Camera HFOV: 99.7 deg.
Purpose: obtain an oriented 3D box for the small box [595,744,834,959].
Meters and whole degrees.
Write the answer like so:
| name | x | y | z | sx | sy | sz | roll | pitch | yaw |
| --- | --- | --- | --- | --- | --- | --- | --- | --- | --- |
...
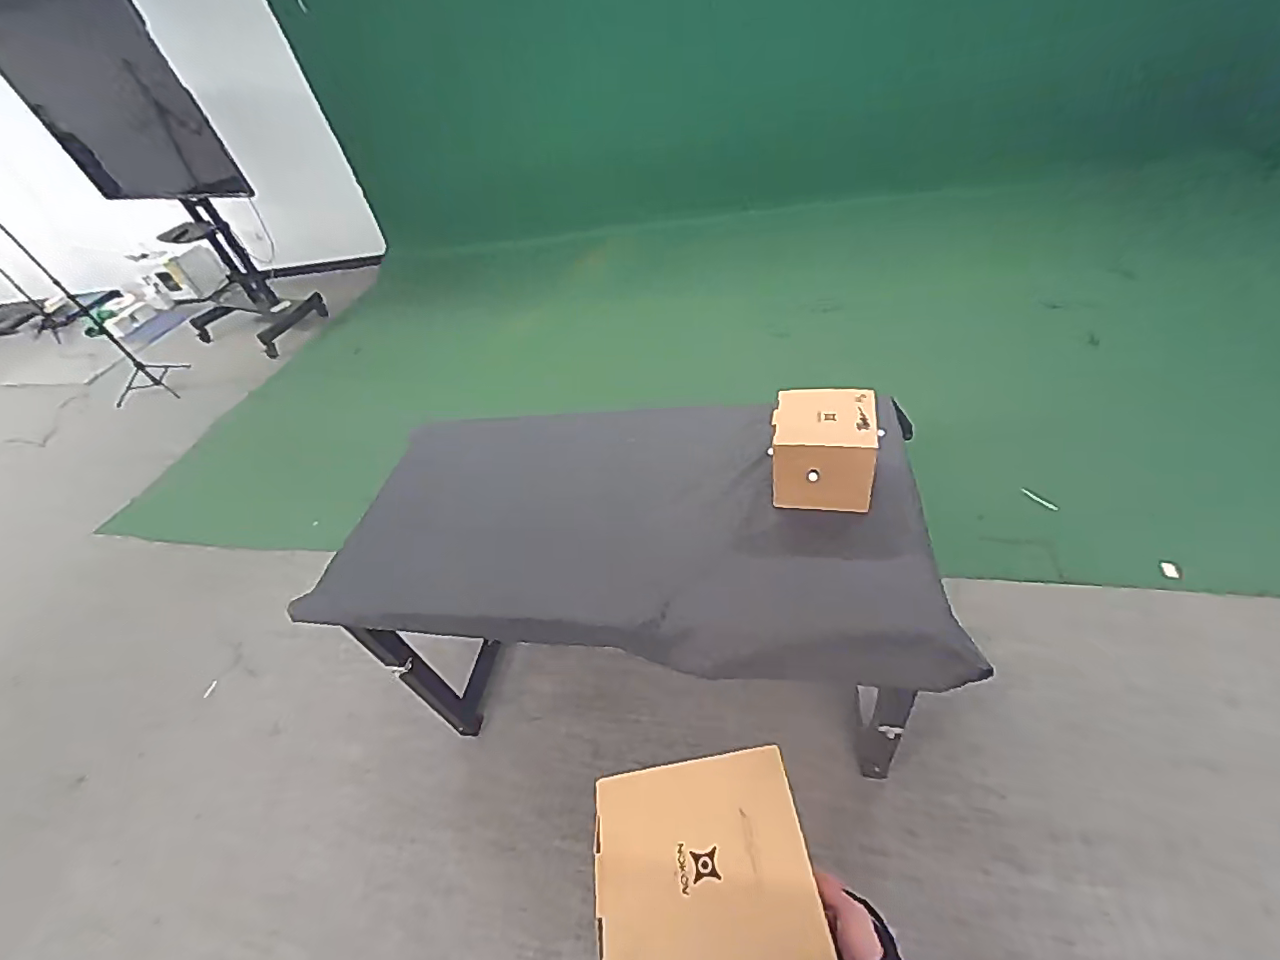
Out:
| name | x | y | z | sx | sy | sz | roll | pitch | yaw |
| --- | --- | --- | --- | --- | --- | --- | --- | --- | --- |
| small box | 0.067 | 0.372 | 0.494 | 0.179 | 0.176 | 0.168 | -14 | 41 | 4 |

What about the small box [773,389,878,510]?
| name | x | y | z | sx | sy | sz | roll | pitch | yaw |
| --- | --- | --- | --- | --- | --- | --- | --- | --- | --- |
| small box | 0.355 | -0.057 | 1.041 | 0.179 | 0.176 | 0.168 | 2 | 47 | 18 |
